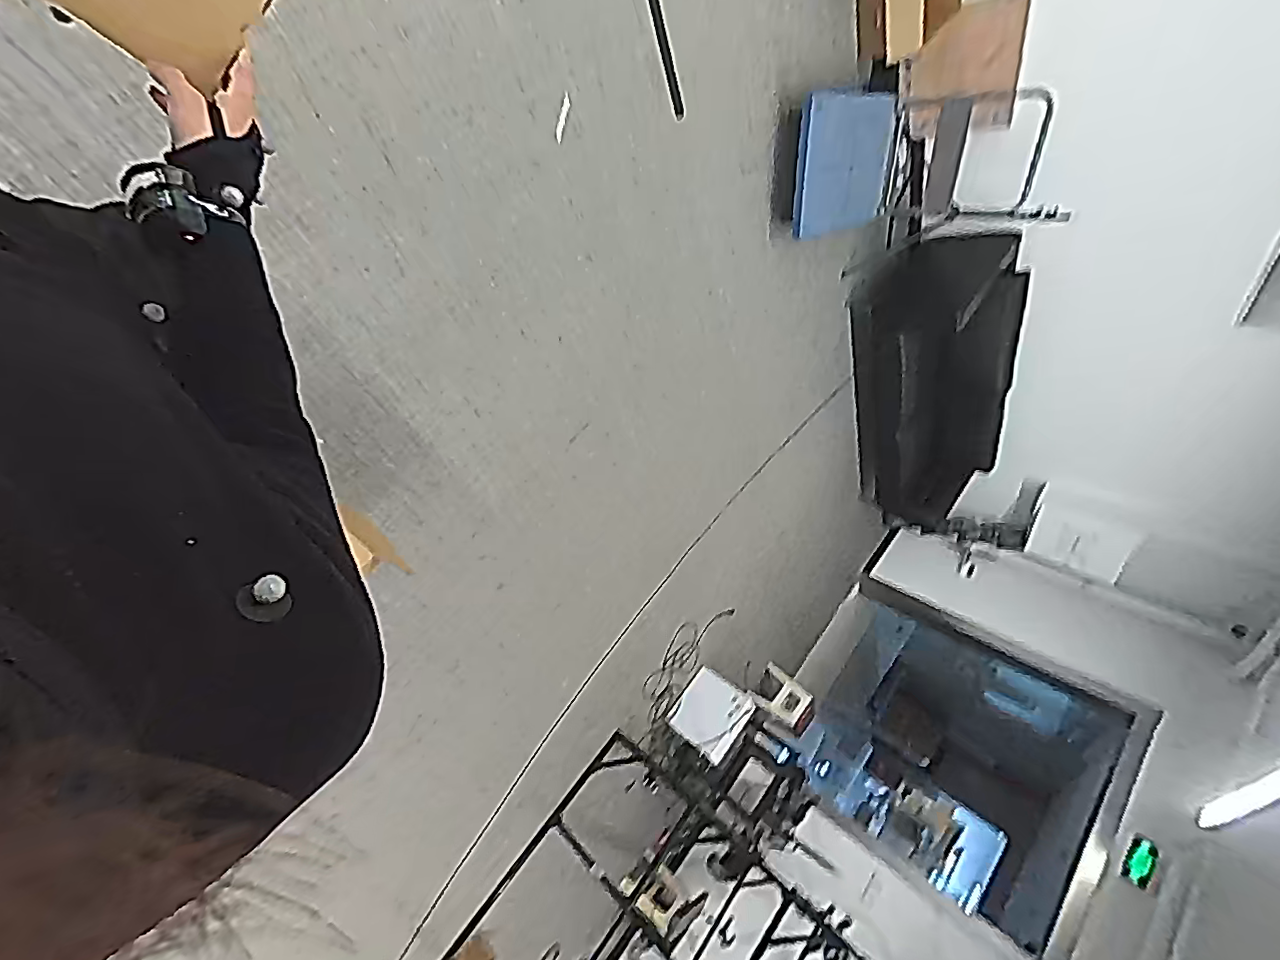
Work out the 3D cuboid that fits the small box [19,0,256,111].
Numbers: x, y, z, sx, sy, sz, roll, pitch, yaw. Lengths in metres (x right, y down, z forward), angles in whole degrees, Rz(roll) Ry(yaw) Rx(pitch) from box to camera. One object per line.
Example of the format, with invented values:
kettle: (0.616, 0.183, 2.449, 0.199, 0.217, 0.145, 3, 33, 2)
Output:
small box: (-0.474, -0.483, 0.474, 0.168, 0.176, 0.179, -51, 151, 10)
